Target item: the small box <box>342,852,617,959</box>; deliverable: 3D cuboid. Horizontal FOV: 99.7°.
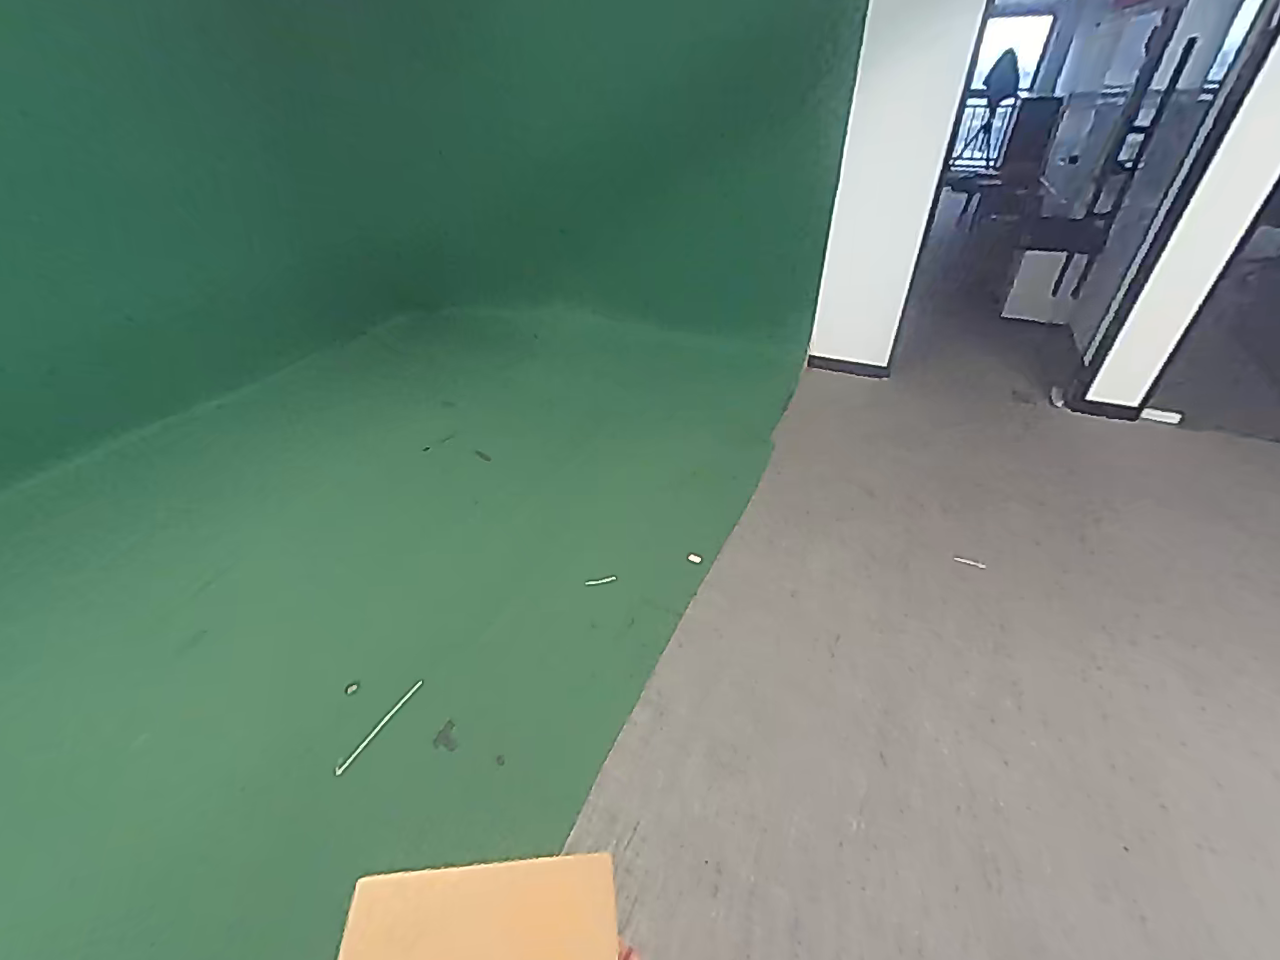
[{"bbox_3d":[-0.100,0.376,0.344,0.168,0.176,0.179,0,37,-11],"label":"small box"}]
